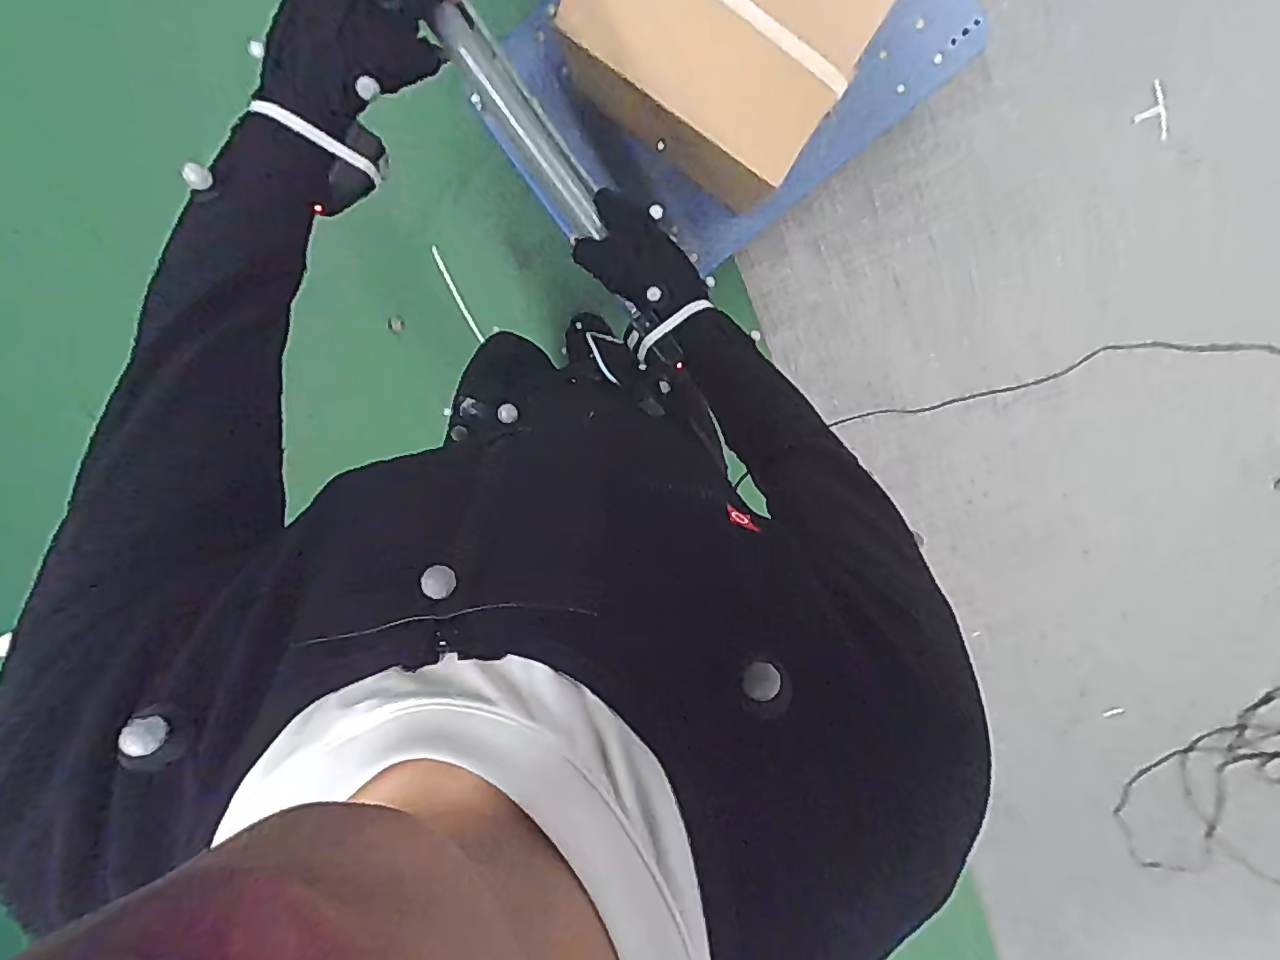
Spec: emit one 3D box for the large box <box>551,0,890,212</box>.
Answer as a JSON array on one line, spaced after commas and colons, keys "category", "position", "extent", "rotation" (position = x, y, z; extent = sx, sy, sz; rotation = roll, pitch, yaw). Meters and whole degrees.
[{"category": "large box", "position": [0.121, -0.719, 0.911], "extent": [0.408, 0.320, 0.320], "rotation": [31, 106, -9]}]
